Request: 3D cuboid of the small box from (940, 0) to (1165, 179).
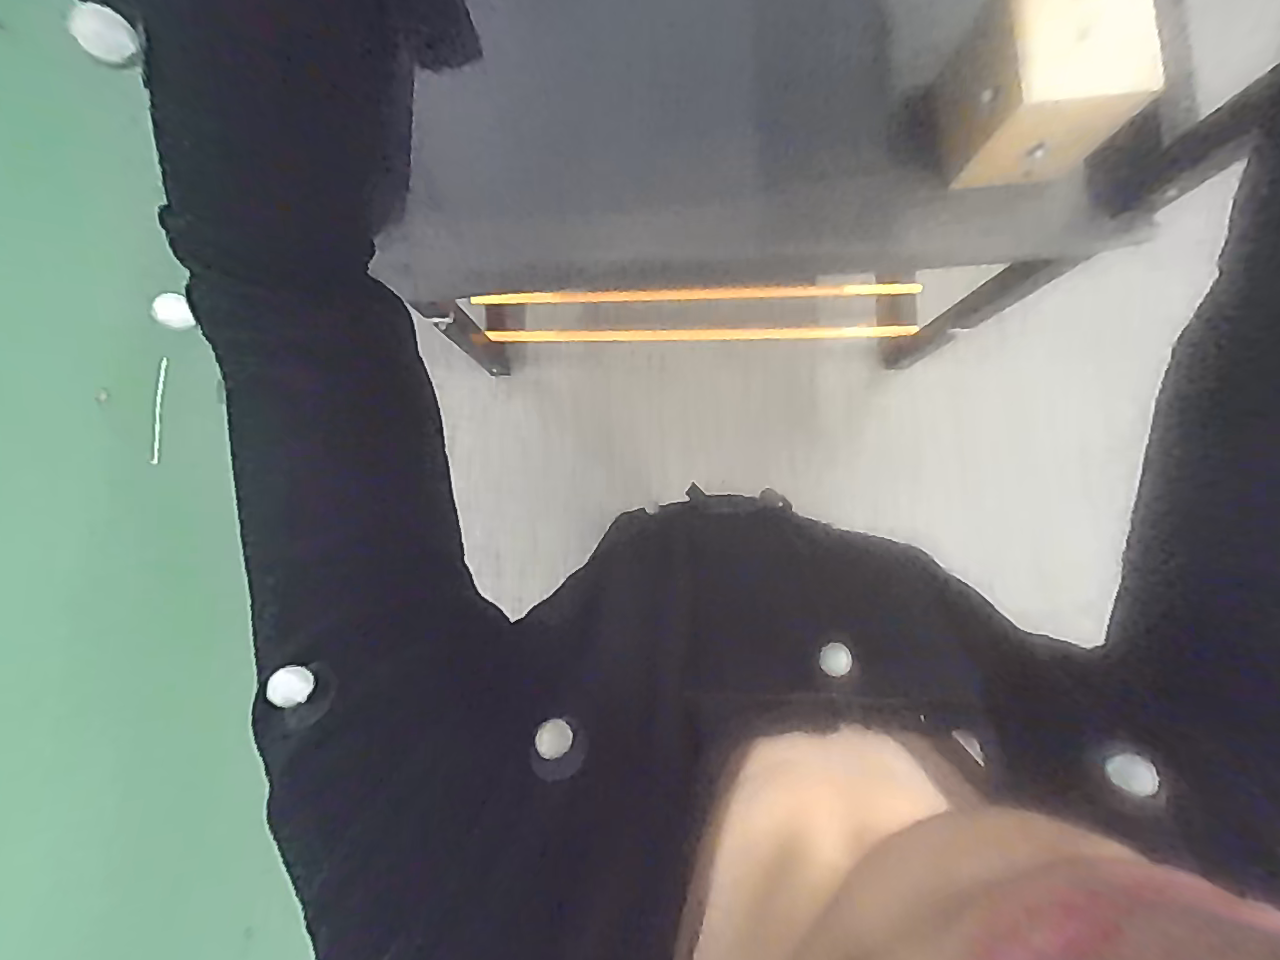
[{"bbox_3d":[0.528,-0.527,0.718,0.168,0.176,0.179,-4,85,1],"label":"small box"}]
